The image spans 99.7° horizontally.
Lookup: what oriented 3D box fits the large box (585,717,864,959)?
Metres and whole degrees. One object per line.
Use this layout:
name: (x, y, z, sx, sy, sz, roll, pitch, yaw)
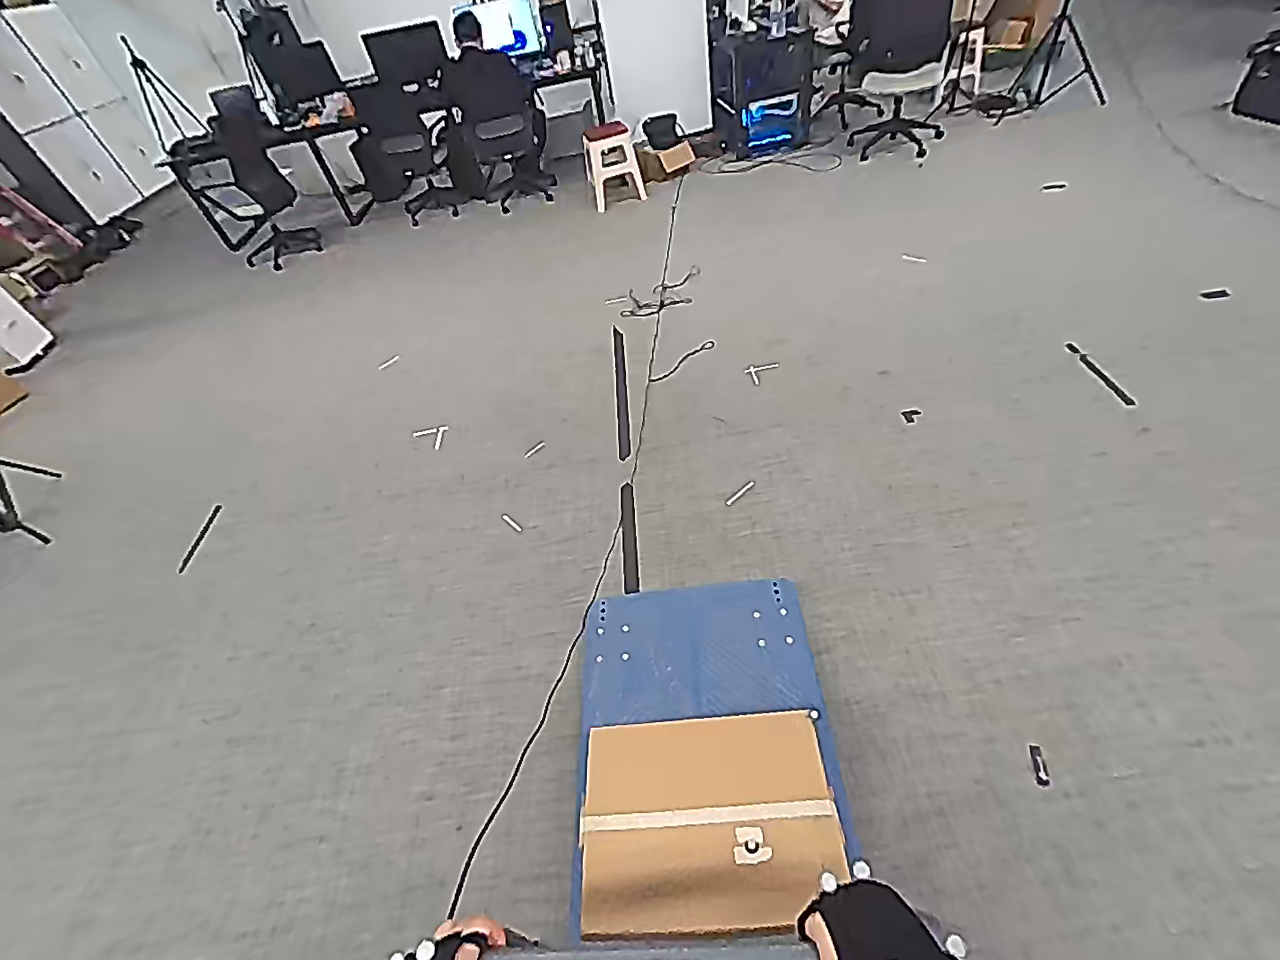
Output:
large box: (0.132, 0.659, 0.968, 0.408, 0.320, 0.320, -7, 45, 5)
